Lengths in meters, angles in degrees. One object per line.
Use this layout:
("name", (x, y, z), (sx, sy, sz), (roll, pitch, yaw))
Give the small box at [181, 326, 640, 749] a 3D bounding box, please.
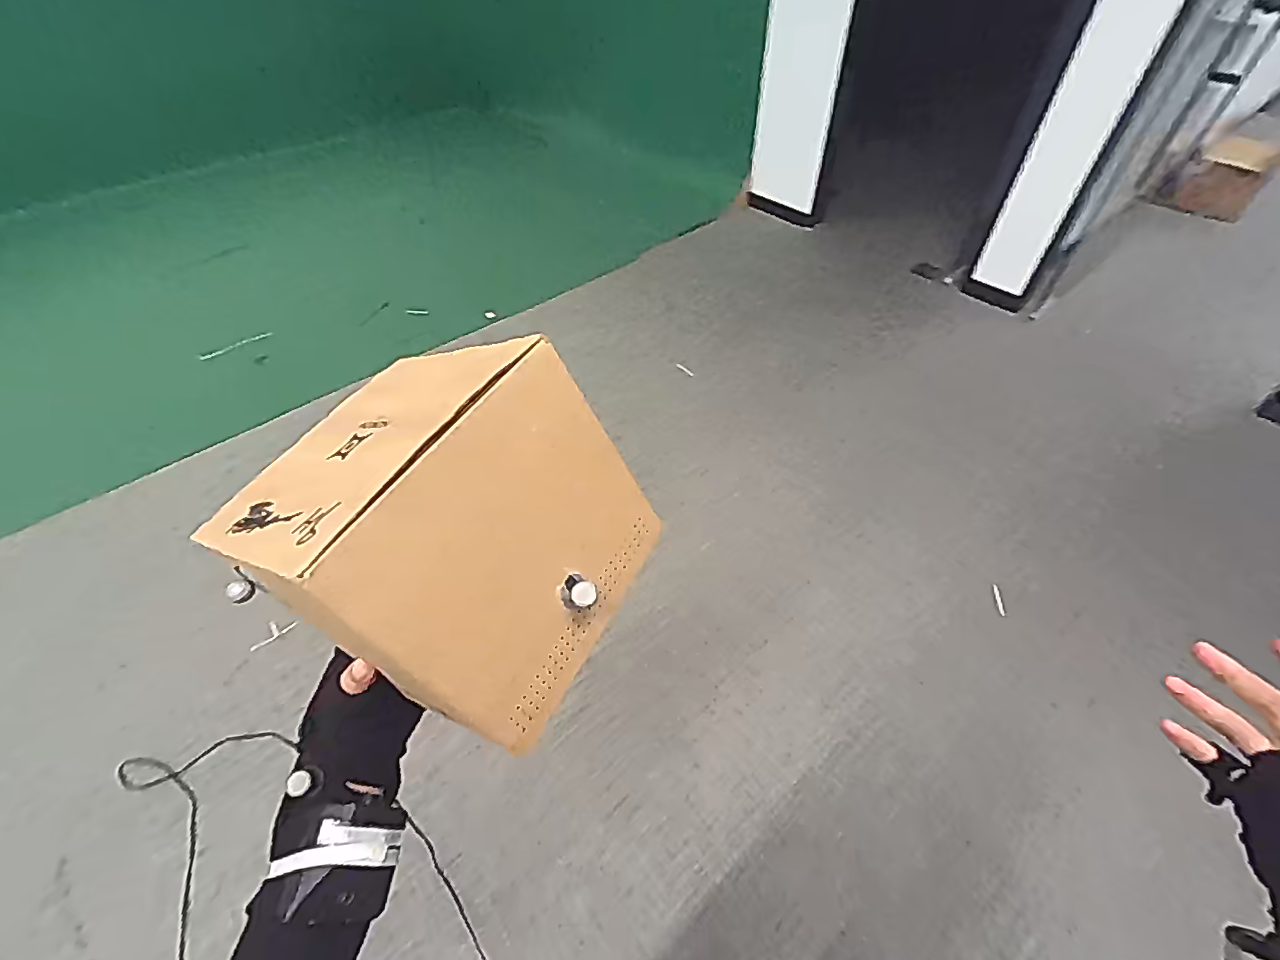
("small box", (-0.121, 0.030, 0.344), (0.168, 0.176, 0.179), (2, 46, 39))
